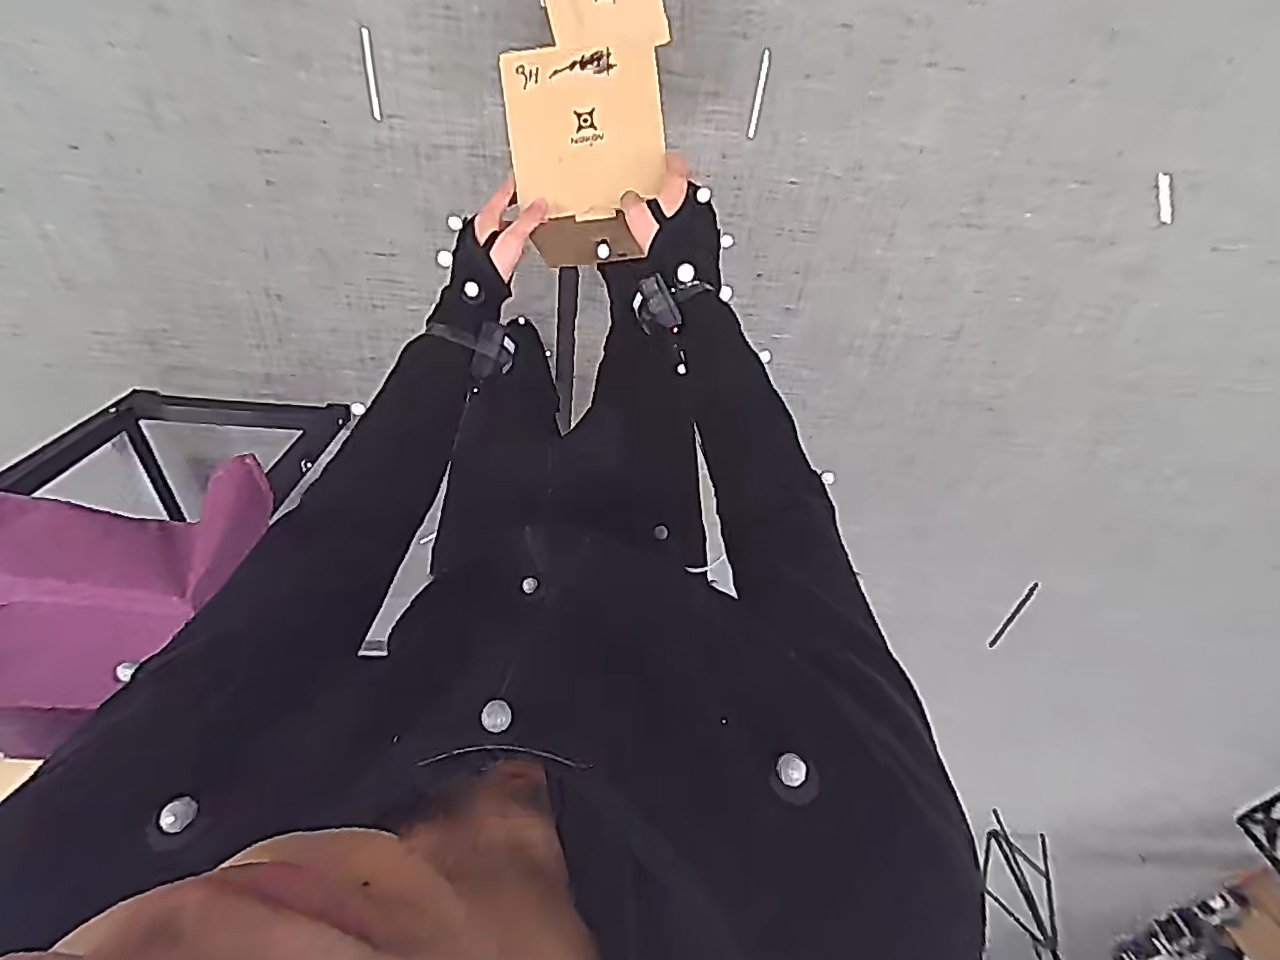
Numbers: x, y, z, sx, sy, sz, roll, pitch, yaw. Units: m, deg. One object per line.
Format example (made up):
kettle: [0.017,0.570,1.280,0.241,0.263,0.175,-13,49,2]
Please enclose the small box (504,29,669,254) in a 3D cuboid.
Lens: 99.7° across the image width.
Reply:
small box: [-0.053,-0.388,0.657,0.168,0.176,0.179,-6,96,2]
